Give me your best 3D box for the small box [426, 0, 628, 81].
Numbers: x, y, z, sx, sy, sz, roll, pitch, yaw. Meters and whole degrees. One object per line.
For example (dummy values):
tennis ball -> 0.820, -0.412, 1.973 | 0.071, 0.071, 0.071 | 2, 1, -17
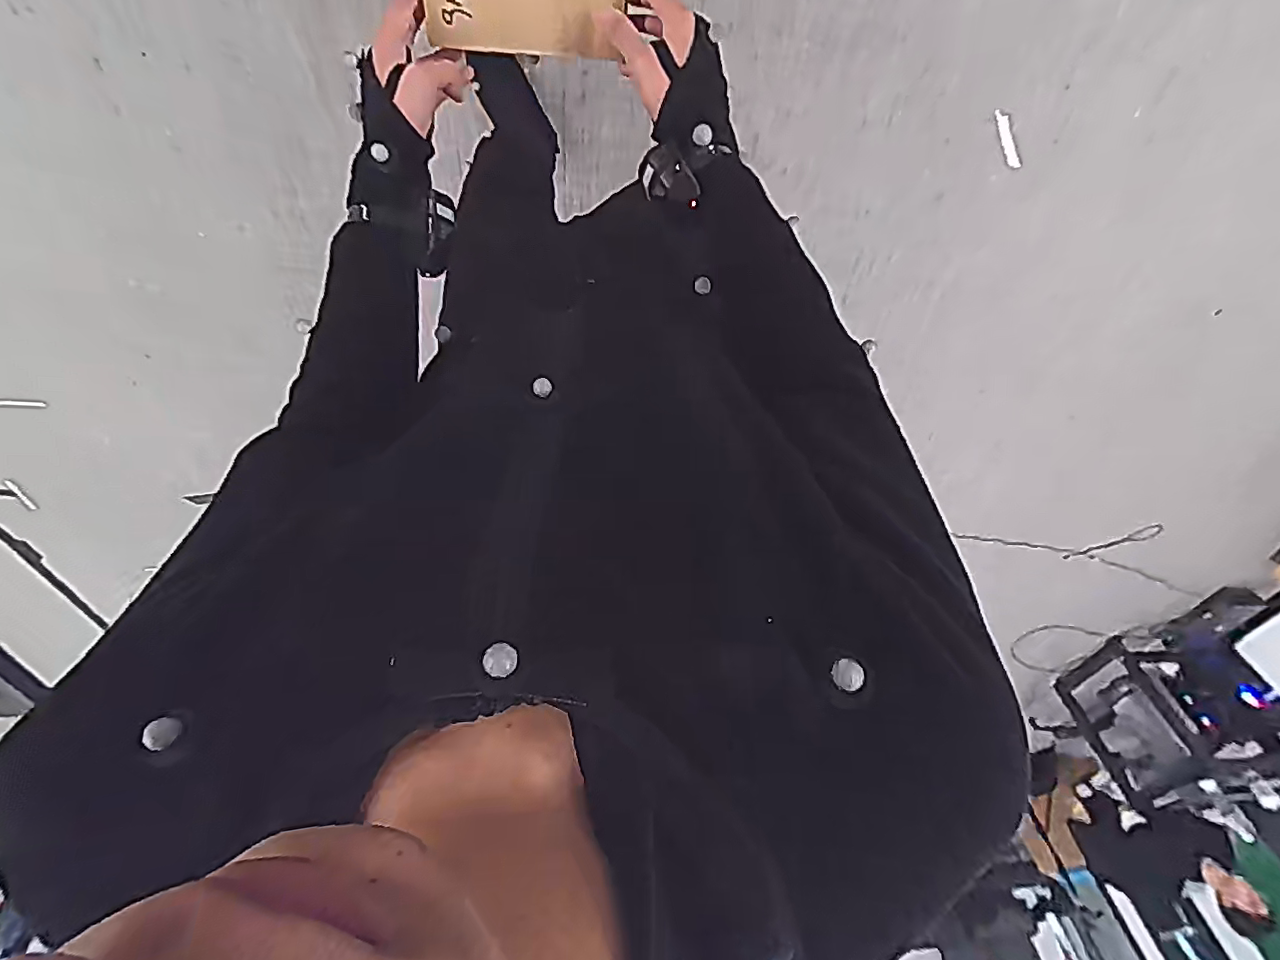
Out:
small box -> -0.106, -0.494, 0.507 | 0.179, 0.176, 0.168 | -2, 132, -9
